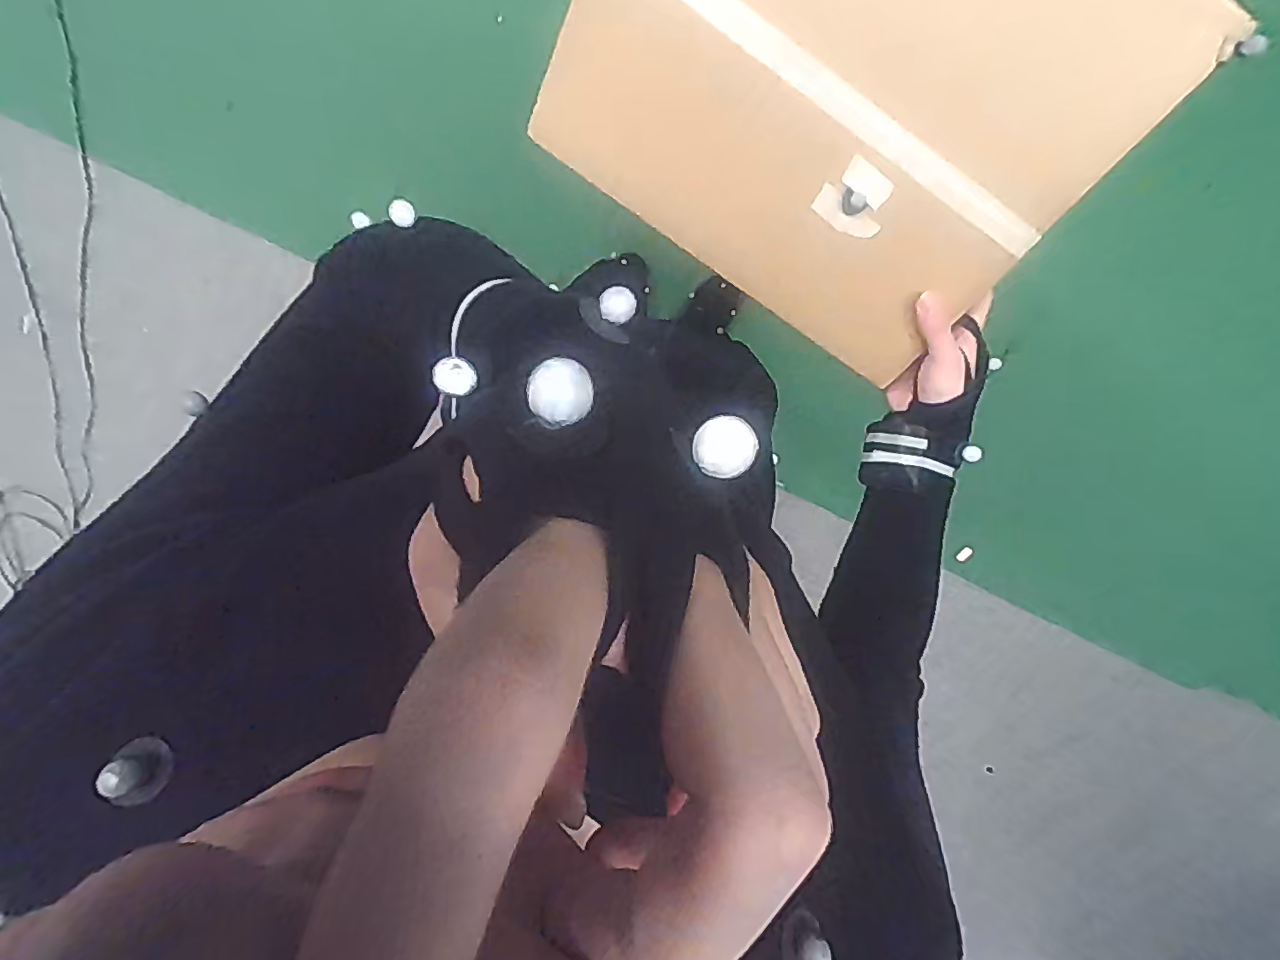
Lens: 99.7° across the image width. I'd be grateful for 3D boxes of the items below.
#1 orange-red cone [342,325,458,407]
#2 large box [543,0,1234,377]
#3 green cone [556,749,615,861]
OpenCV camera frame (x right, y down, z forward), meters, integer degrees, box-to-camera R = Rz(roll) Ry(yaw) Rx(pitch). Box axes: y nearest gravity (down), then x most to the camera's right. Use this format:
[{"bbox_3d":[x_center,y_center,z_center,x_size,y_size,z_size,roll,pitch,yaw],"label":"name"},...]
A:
[{"bbox_3d":[-0.694,-0.284,1.491,0.199,0.360,0.198,33,112,-5],"label":"orange-red cone"},{"bbox_3d":[0.182,-0.381,0.536,0.408,0.320,0.320,32,128,-8],"label":"large box"},{"bbox_3d":[-0.243,1.273,2.074,0.200,0.368,0.202,31,111,-6],"label":"green cone"}]
